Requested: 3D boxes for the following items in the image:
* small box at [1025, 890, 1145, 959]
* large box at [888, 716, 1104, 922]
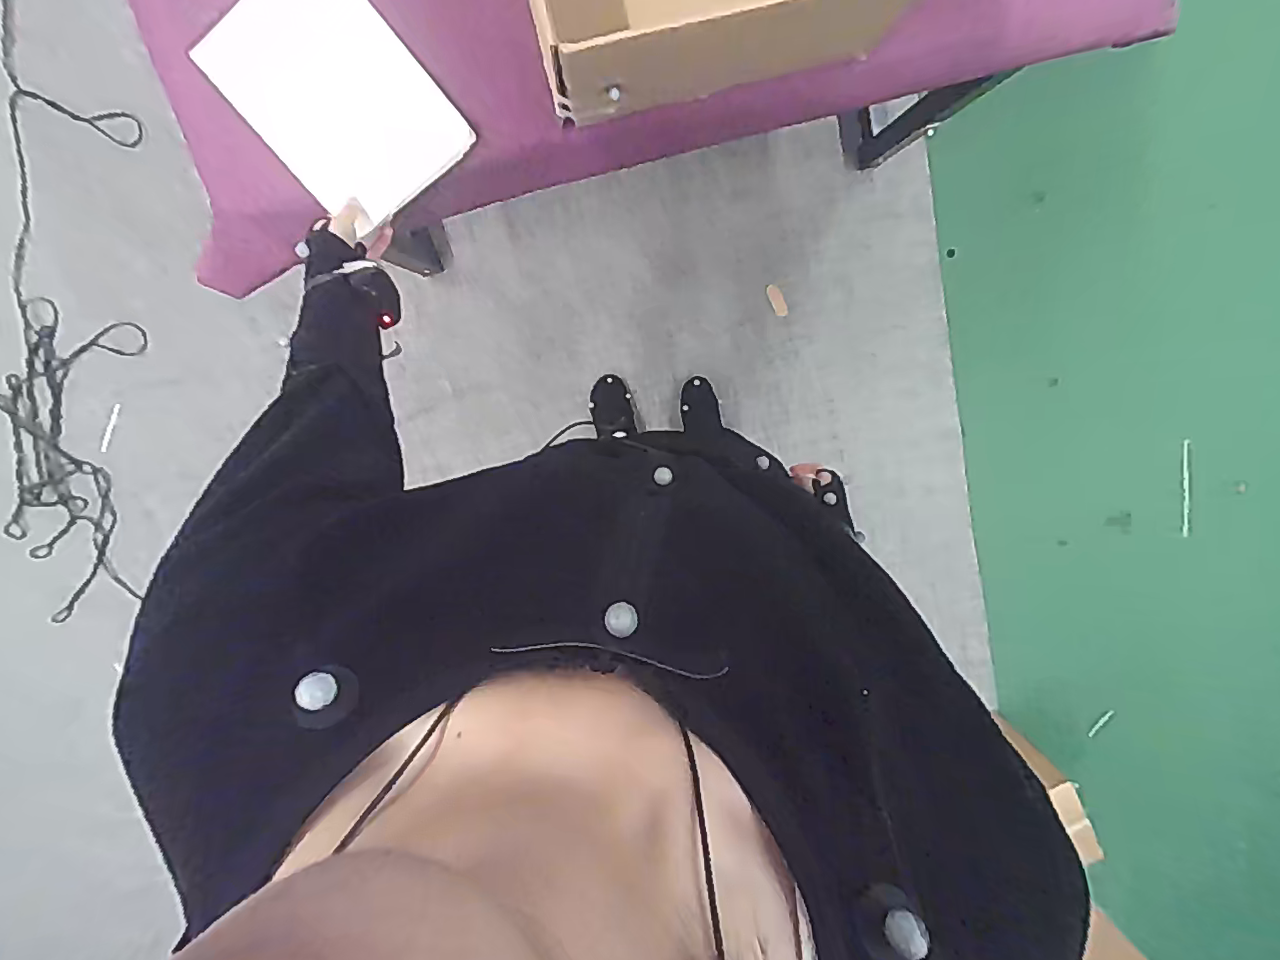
[{"bbox_3d":[1.048,1.124,1.265,0.179,0.176,0.168,-30,102,3],"label":"small box"},{"bbox_3d":[1.069,1.020,1.662,0.408,0.320,0.320,-30,104,2],"label":"large box"}]
